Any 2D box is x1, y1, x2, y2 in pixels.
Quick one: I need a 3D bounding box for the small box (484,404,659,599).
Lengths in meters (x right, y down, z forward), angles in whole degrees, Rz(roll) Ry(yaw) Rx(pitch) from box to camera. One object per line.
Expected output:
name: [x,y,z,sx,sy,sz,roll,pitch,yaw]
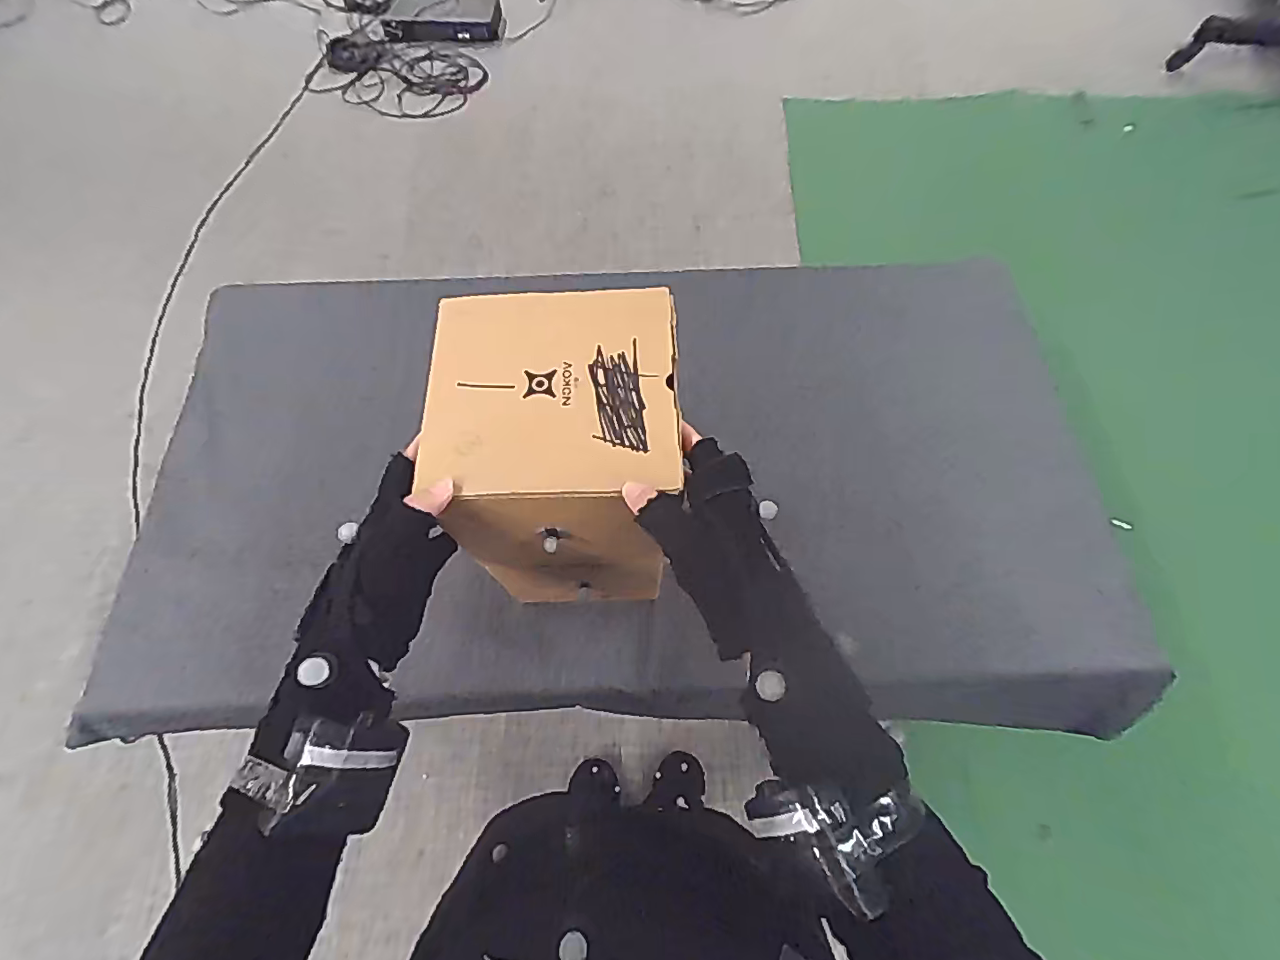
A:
small box: [-0.063,0.034,0.603,0.168,0.176,0.179,-2,66,0]
